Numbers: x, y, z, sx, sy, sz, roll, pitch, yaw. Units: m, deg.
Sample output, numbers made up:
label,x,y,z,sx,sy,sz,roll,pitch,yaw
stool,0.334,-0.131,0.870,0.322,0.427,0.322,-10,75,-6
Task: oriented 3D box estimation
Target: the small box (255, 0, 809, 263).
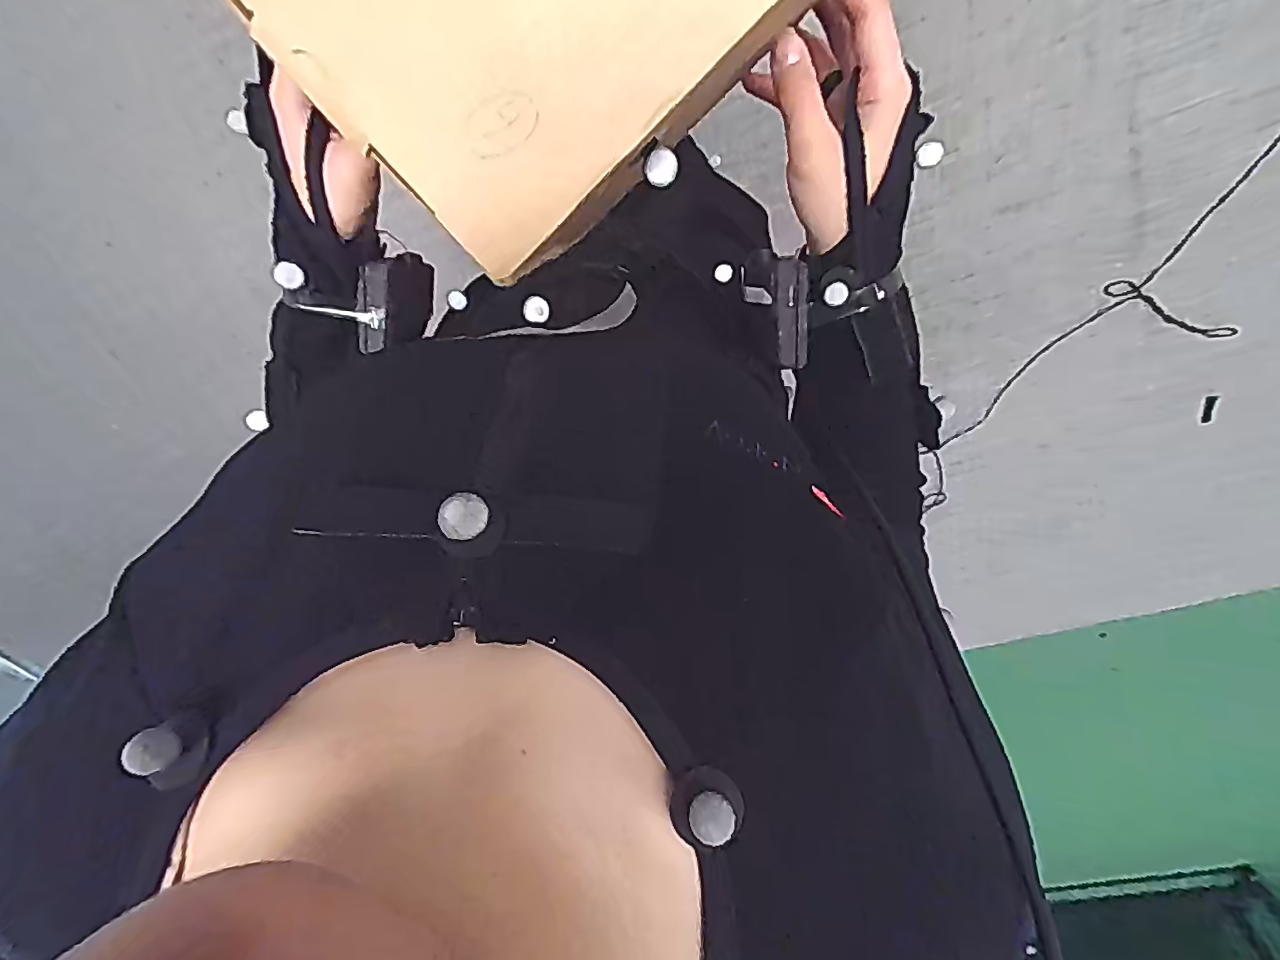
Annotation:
label,x,y,z,sx,sy,sz,roll,pitch,yaw
small box,-0.033,-0.217,0.214,0.179,0.176,0.168,-35,111,20
